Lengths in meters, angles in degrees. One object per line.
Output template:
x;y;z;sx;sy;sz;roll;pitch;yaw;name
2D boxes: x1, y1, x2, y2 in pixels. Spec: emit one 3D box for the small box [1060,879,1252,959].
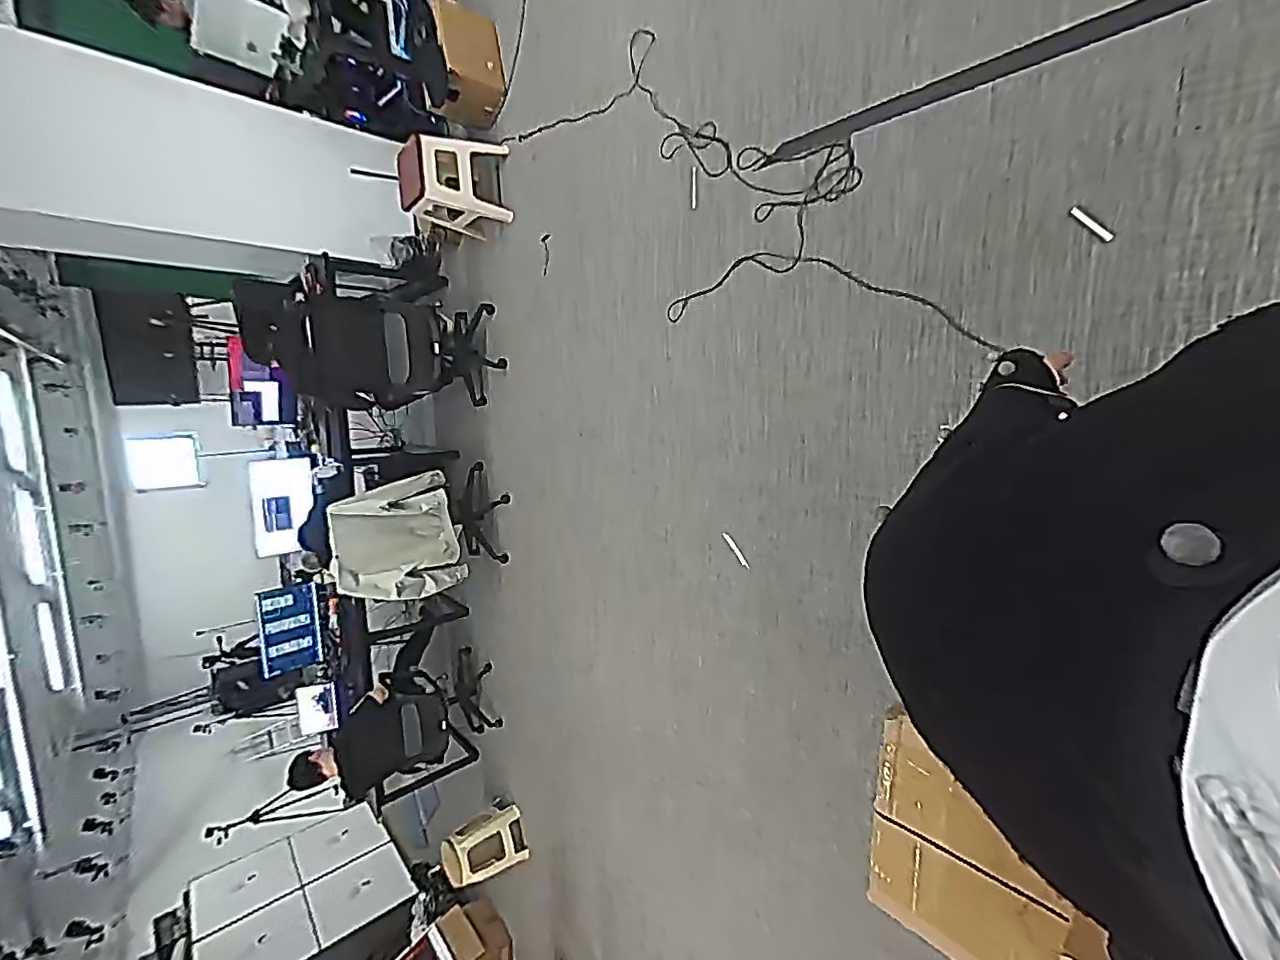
0.624;0.649;0.654;0.168;0.176;0.179;8;100;49;small box
